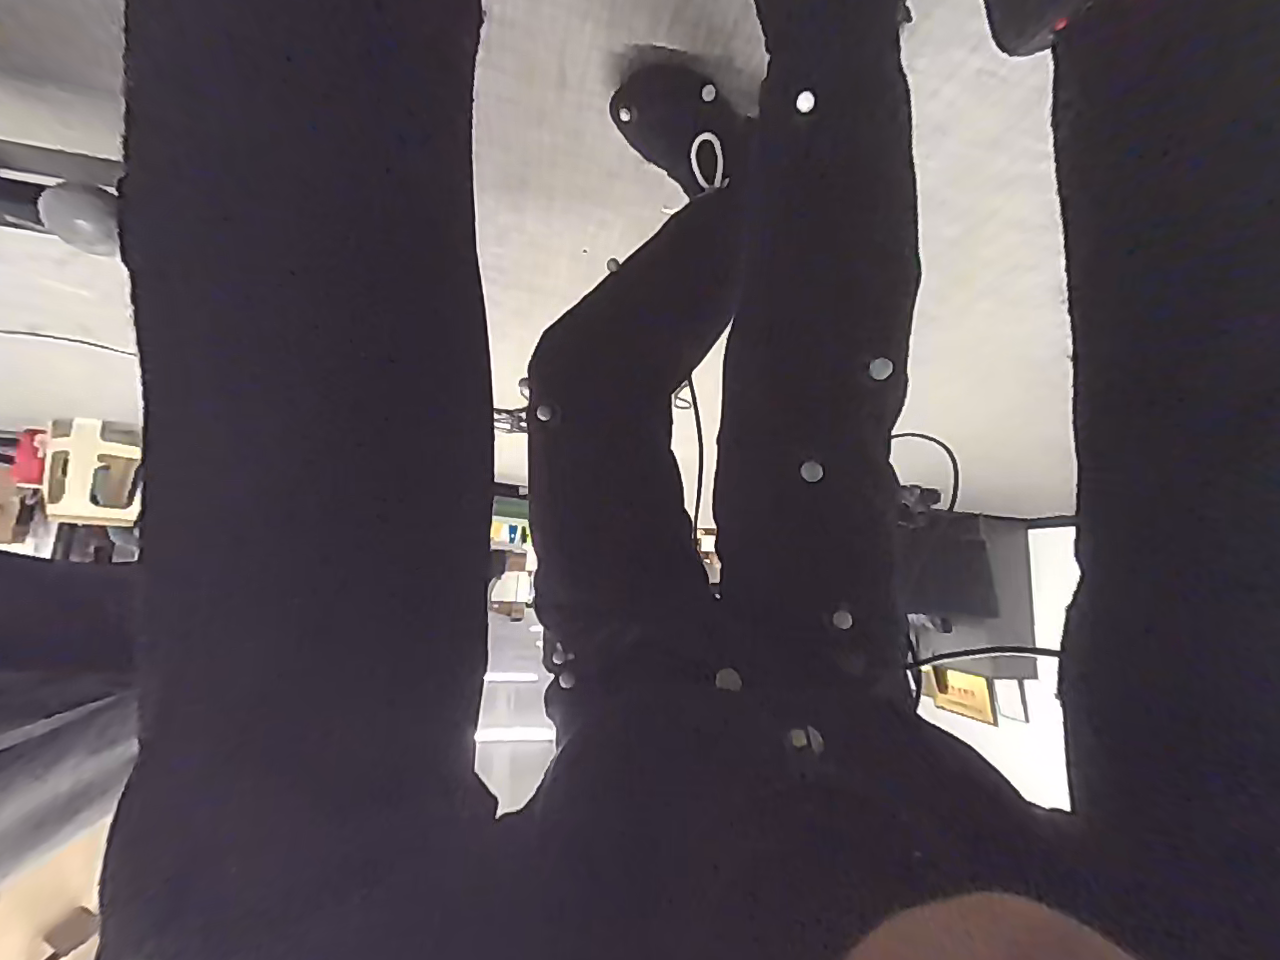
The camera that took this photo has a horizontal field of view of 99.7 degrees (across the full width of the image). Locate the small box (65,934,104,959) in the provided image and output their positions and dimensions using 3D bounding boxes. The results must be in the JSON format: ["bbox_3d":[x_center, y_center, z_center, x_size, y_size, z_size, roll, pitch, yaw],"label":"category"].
[{"bbox_3d":[-0.573,0.480,0.416,0.179,0.176,0.168,4,169,-9],"label":"small box"}]

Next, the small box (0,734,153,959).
[{"bbox_3d":[-0.568,0.320,0.451,0.179,0.176,0.168,5,169,-11],"label":"small box"}]
